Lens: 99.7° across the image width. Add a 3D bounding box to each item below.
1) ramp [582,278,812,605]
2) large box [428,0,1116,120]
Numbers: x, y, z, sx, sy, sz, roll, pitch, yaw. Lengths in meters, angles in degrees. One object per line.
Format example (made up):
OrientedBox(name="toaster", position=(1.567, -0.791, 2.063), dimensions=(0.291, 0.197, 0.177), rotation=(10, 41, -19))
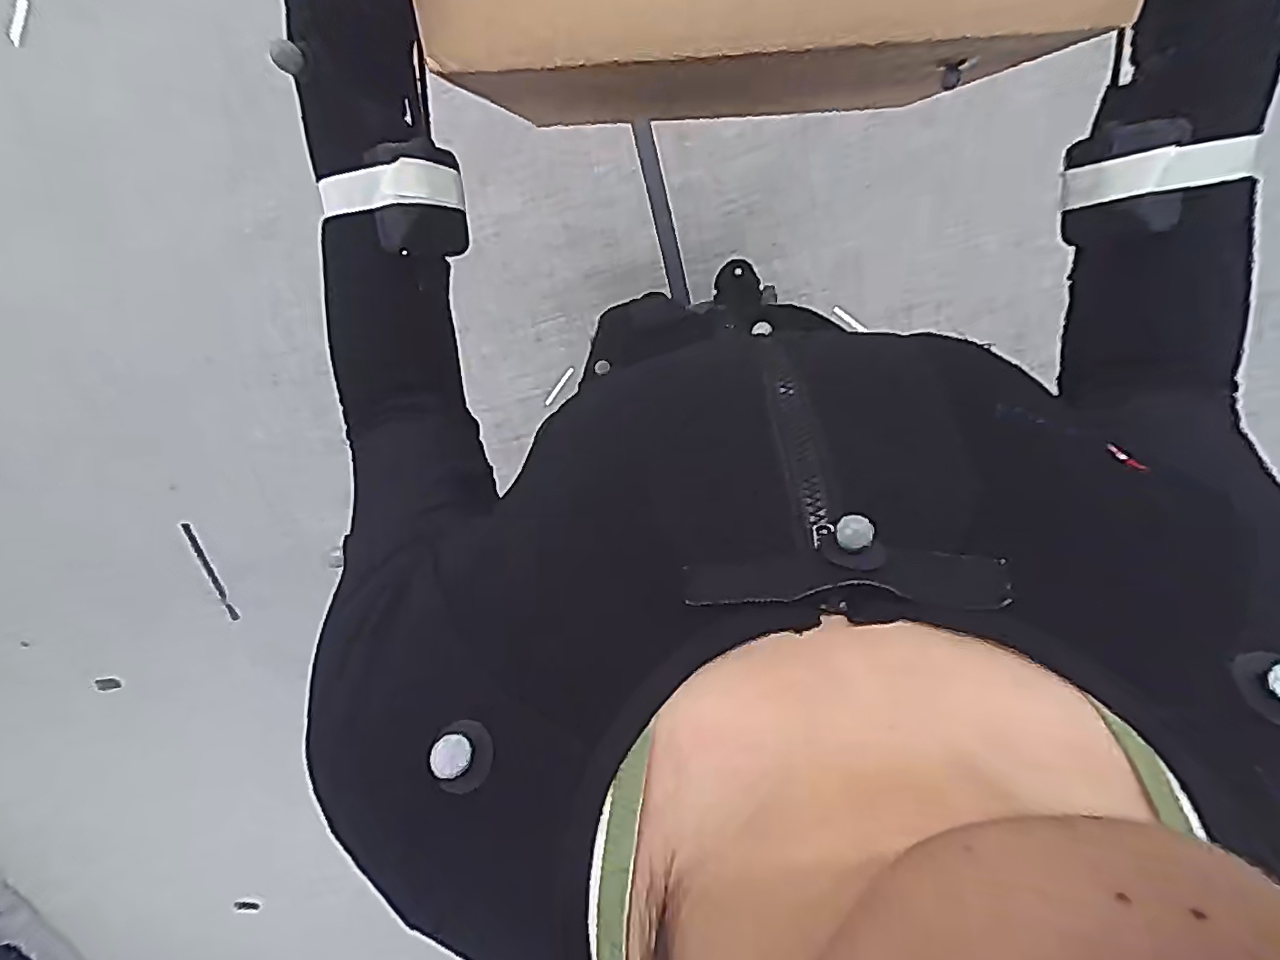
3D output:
OrientedBox(name="ramp", position=(0.214, -0.037, 1.611), dimensions=(0.509, 0.206, 0.991), rotation=(-16, 109, 7))
OrientedBox(name="large box", position=(0.073, -0.459, 0.382), dimensions=(0.408, 0.320, 0.320), rotation=(-1, 118, 2))
